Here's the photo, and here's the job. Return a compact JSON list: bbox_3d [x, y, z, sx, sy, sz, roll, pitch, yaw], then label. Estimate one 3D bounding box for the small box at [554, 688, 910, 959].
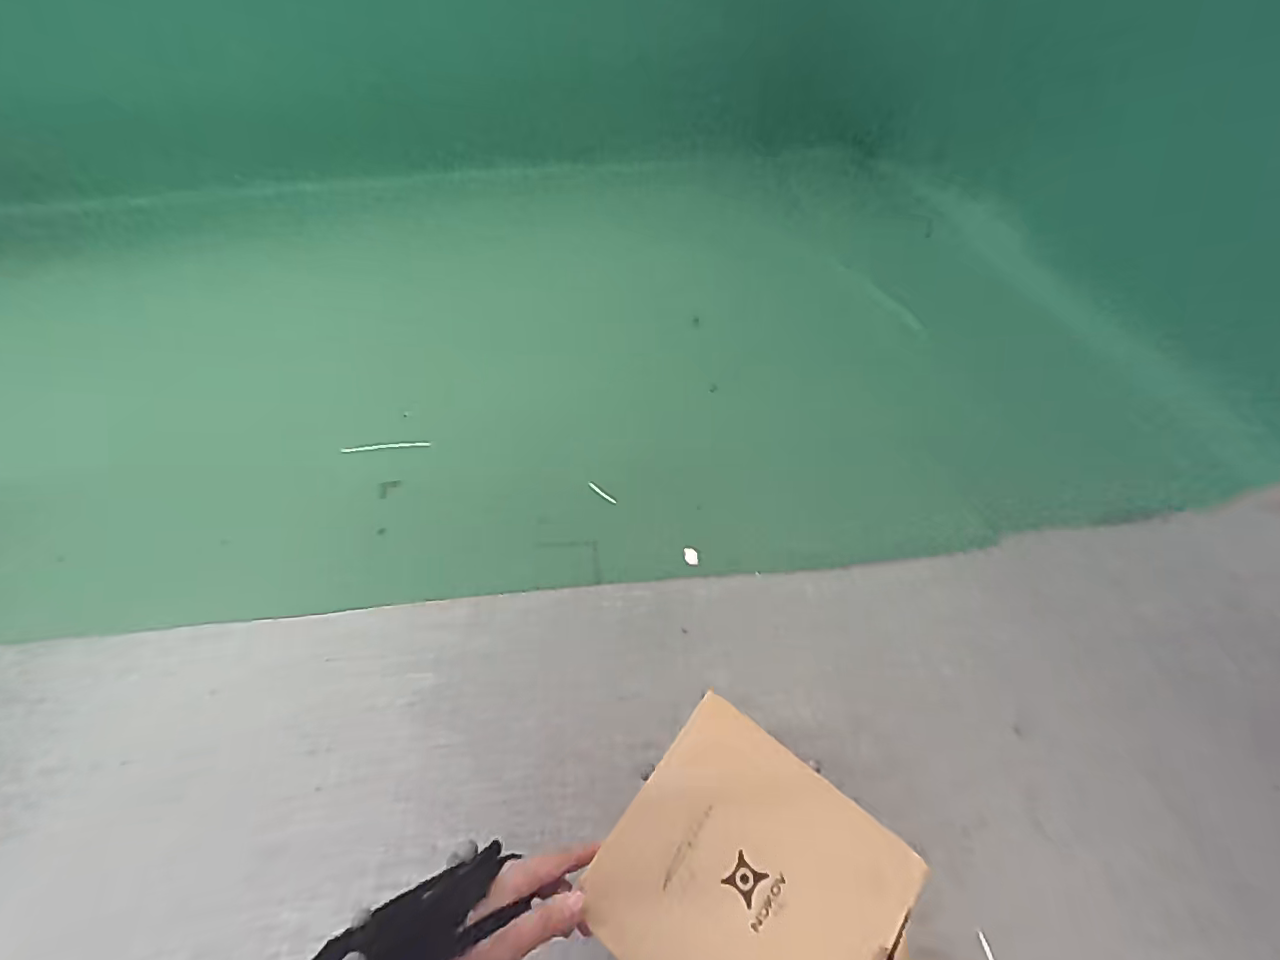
[{"bbox_3d":[0.063,0.295,0.415,0.179,0.176,0.168,31,63,20],"label":"small box"}]
